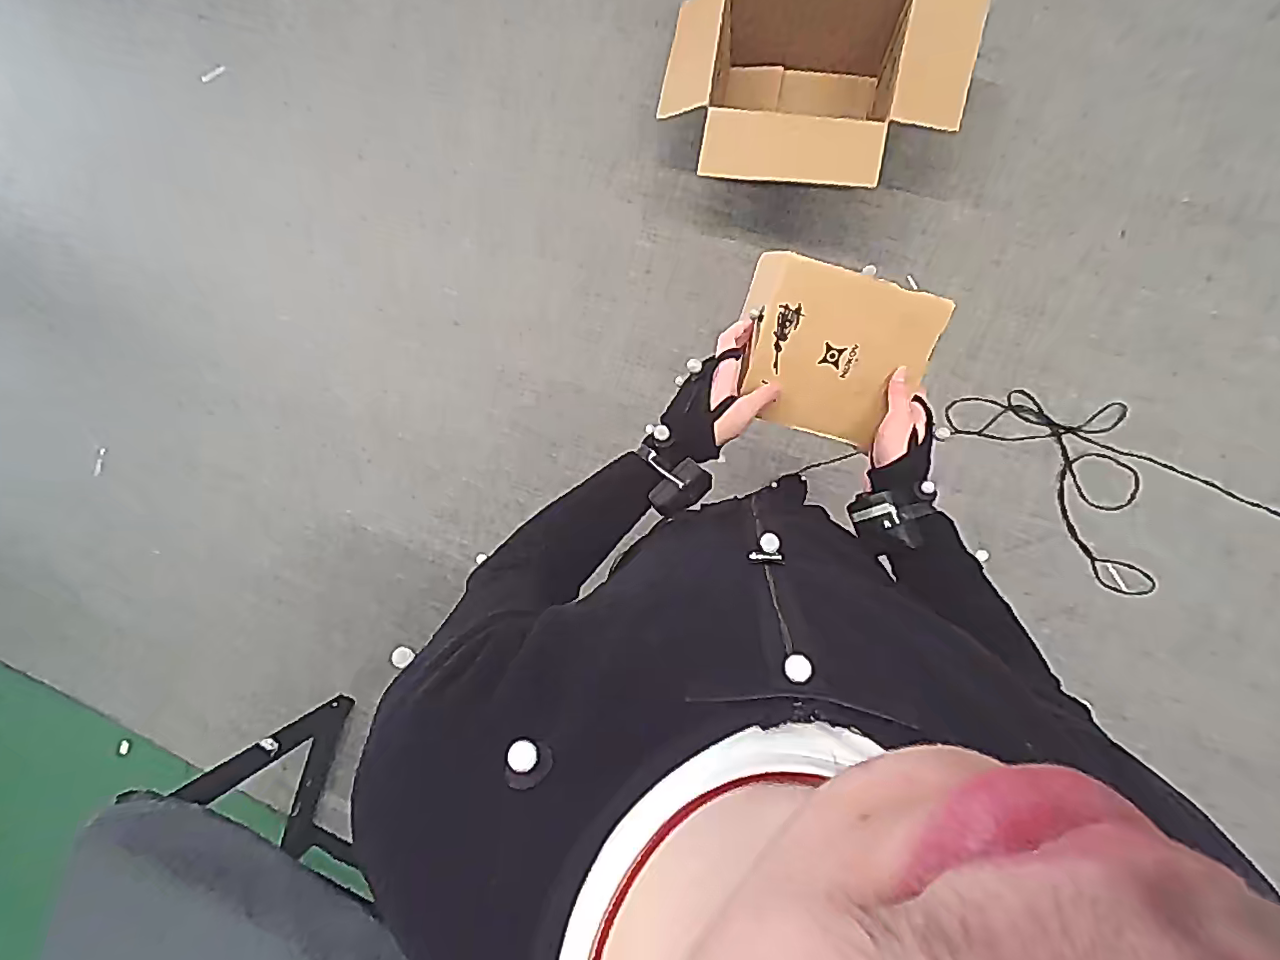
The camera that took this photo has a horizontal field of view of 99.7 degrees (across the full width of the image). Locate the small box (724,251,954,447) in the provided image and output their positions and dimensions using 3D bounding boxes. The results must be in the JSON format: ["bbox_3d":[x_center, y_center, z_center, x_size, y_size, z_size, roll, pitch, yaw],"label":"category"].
[{"bbox_3d":[0.211,-0.159,0.630,0.179,0.176,0.168,15,111,-3],"label":"small box"}]
